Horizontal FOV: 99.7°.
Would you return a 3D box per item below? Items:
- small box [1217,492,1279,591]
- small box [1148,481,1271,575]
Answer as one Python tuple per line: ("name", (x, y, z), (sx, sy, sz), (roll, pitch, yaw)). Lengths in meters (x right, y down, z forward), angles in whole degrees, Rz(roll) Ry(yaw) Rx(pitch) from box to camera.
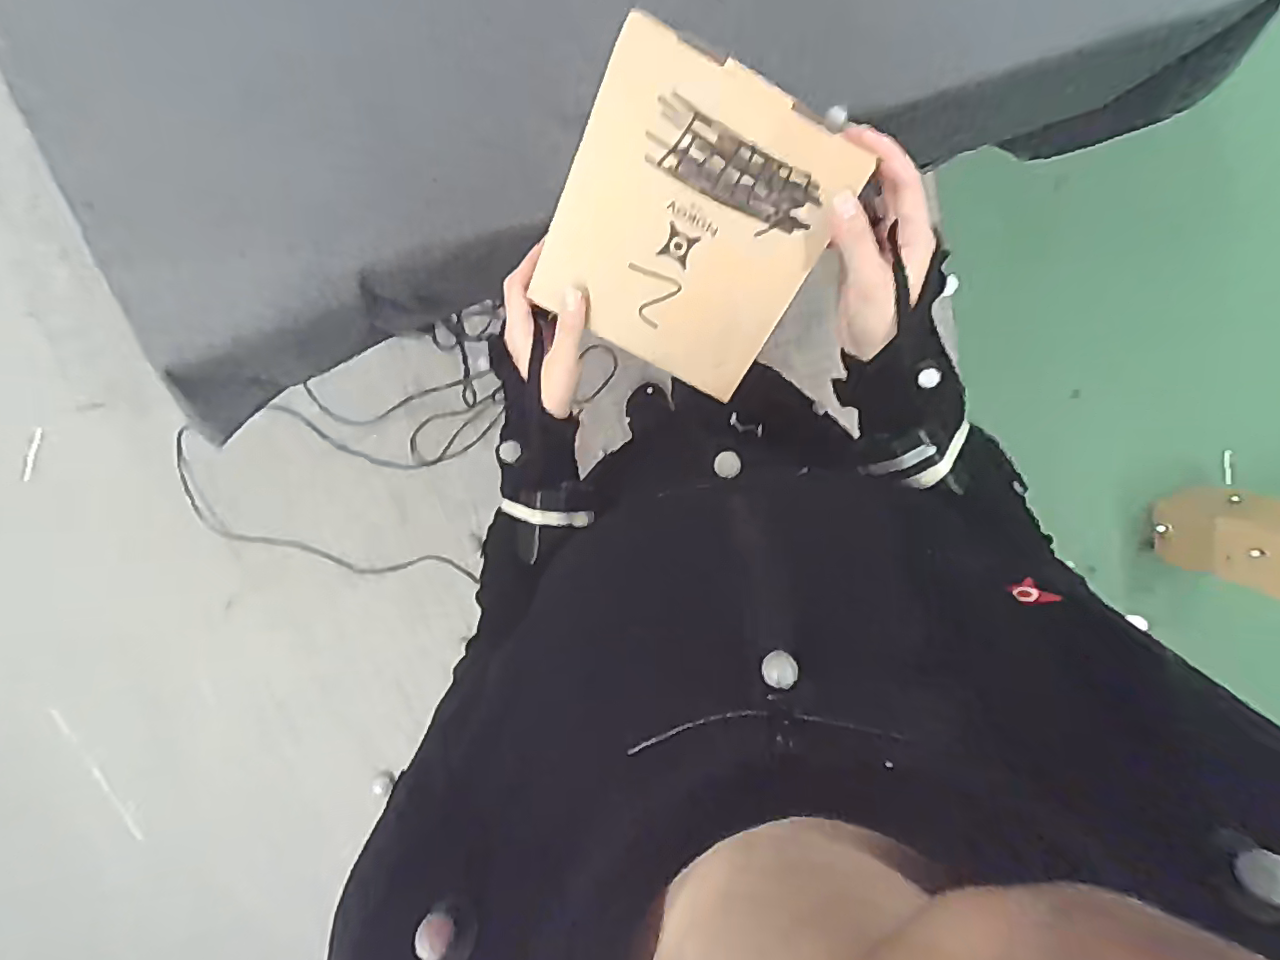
("small box", (1.460, 0.142, 1.214), (0.179, 0.176, 0.168), (-19, 102, 1))
("small box", (1.460, 0.114, 1.375), (0.179, 0.176, 0.168), (-18, 102, 2))
